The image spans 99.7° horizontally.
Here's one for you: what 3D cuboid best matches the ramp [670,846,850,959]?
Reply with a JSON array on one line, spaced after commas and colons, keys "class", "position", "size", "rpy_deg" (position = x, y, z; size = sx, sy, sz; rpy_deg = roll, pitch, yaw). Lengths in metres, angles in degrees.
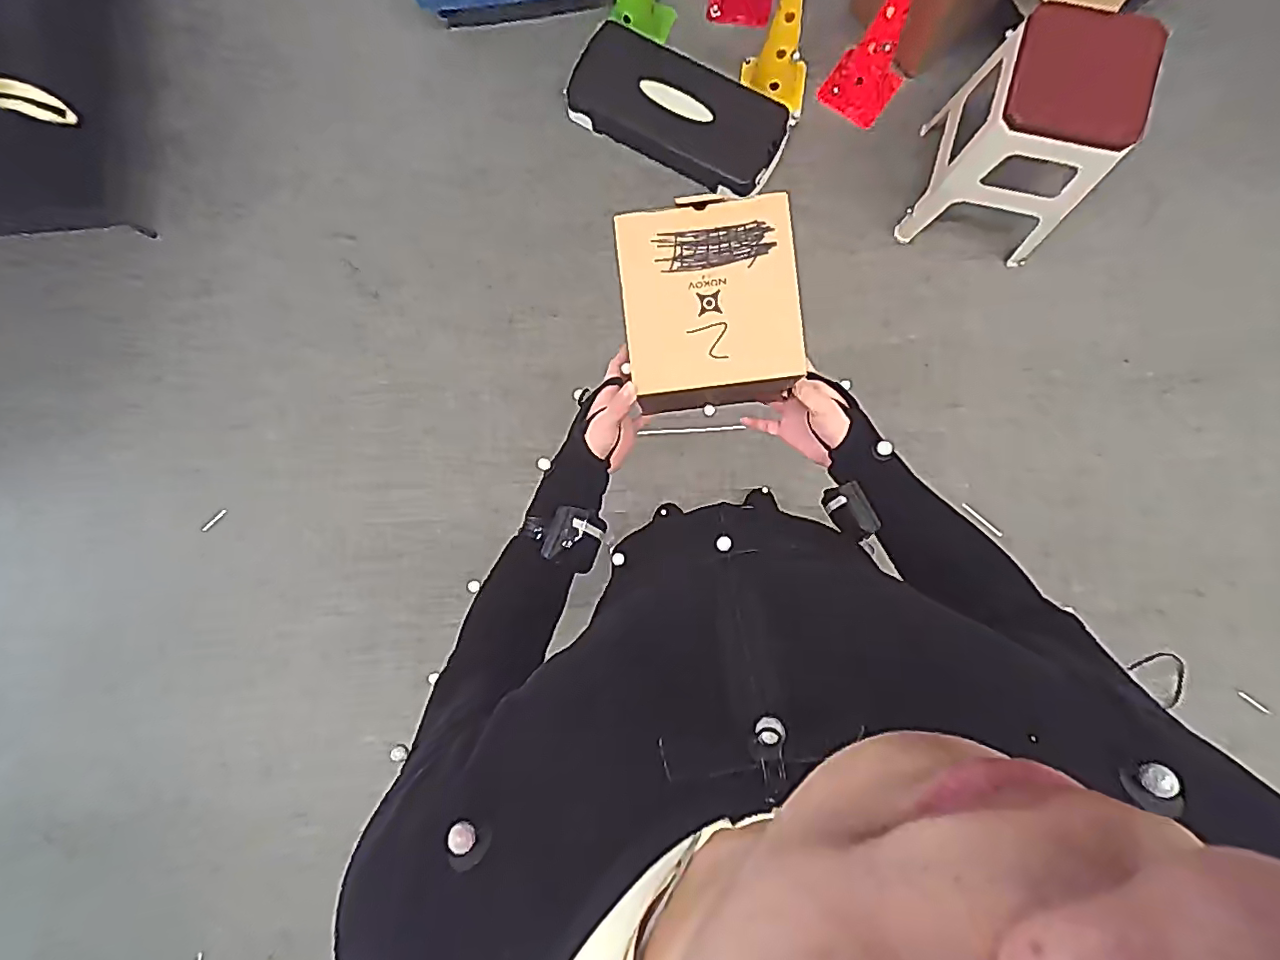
[{"class": "ramp", "position": [0.349, 1.559, 1.467], "size": [0.509, 0.206, 0.991], "rpy_deg": [-5, 86, 5]}]
